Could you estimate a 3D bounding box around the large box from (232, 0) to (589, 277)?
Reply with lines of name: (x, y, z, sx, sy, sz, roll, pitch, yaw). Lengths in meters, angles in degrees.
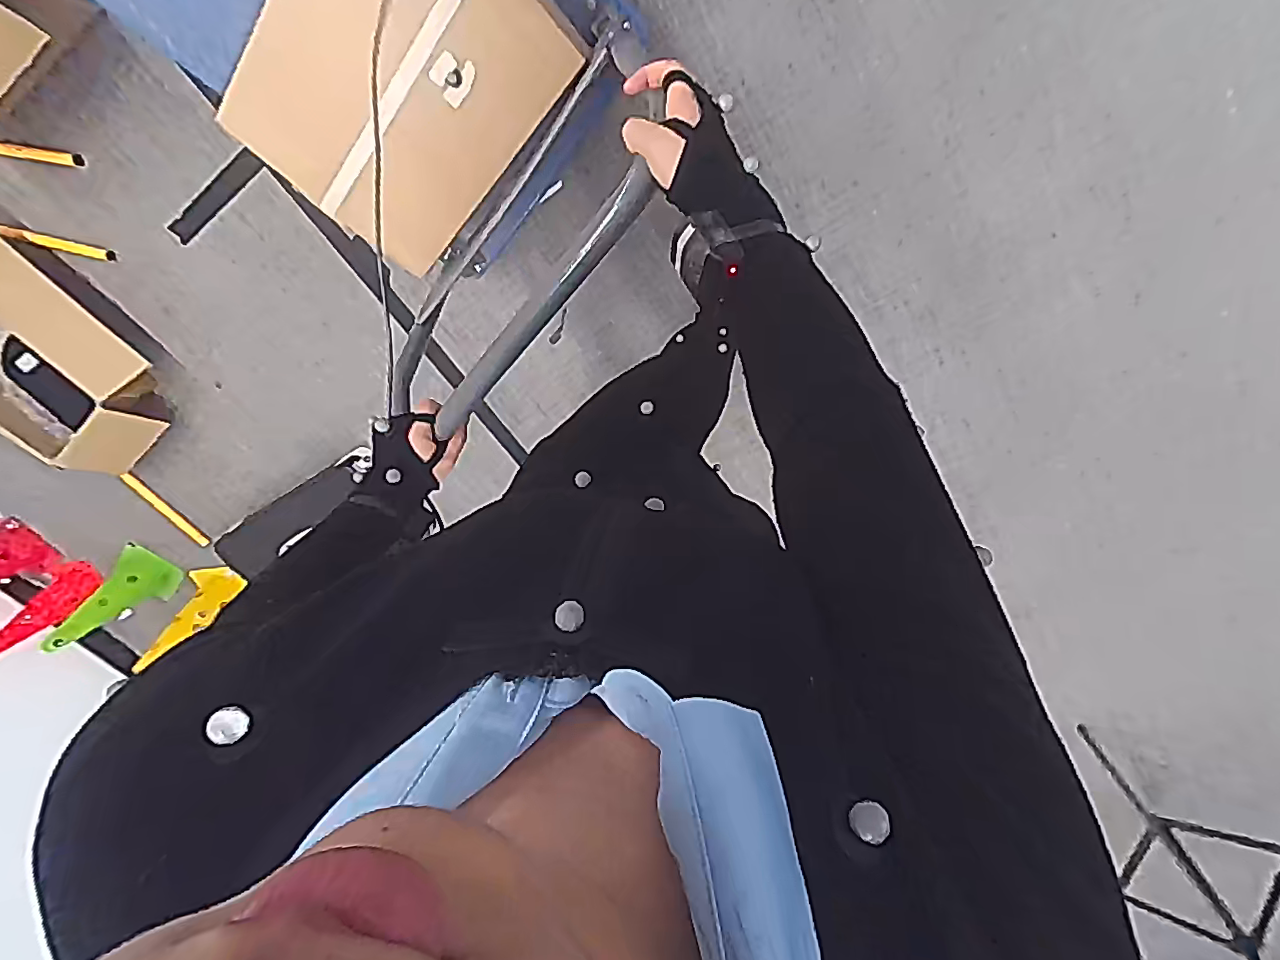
large box: (-0.323, -0.612, 0.838, 0.320, 0.320, 0.408, 36, 119, -29)
